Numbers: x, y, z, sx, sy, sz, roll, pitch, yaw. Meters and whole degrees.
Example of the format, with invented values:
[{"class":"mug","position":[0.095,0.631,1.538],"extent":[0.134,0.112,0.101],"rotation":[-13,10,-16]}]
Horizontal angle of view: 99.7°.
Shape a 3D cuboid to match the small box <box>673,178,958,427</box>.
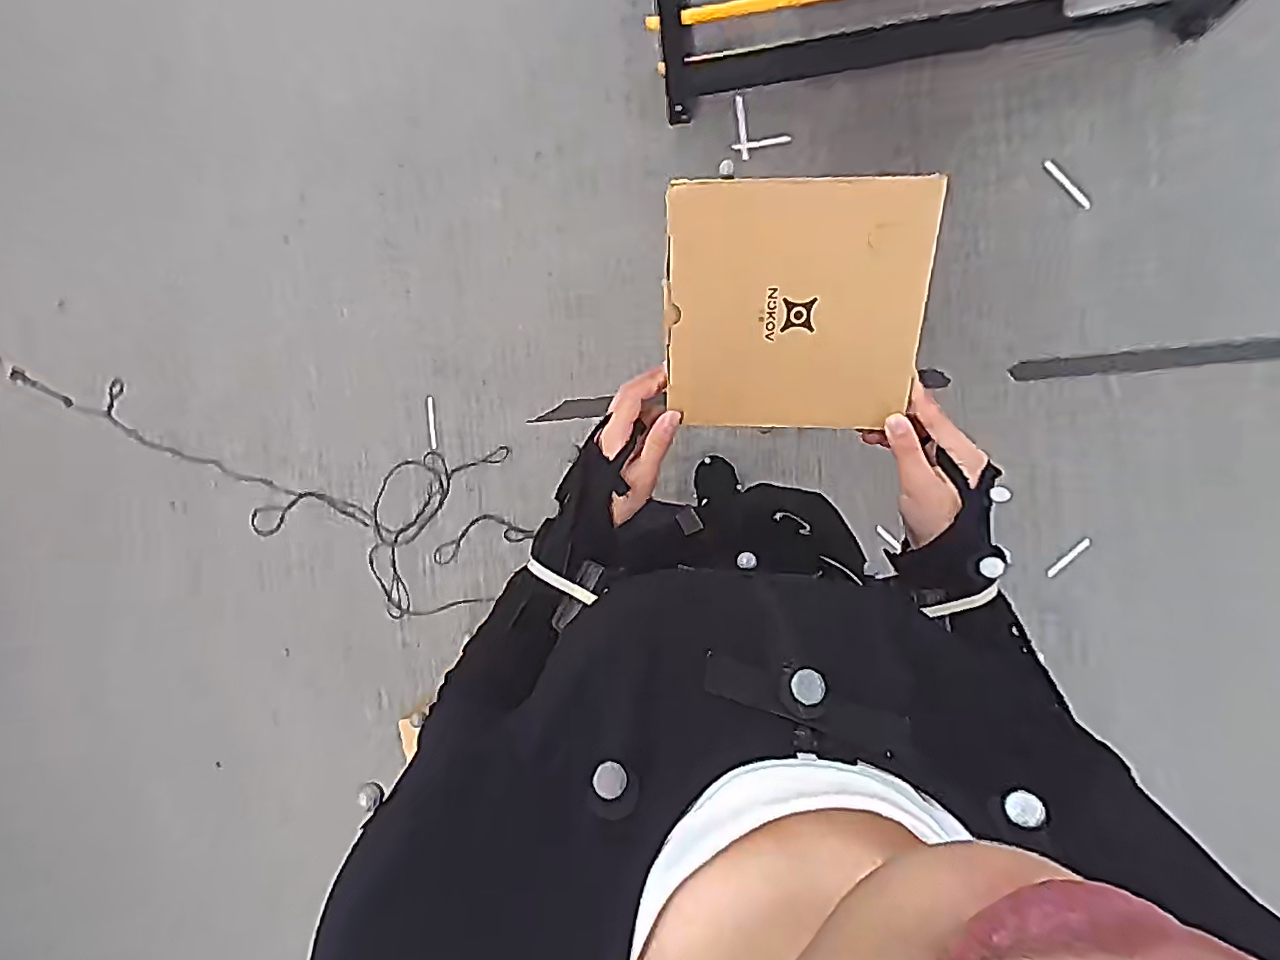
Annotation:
[{"class":"small box","position":[0.121,-0.150,0.445],"extent":[0.179,0.176,0.168],"rotation":[3,114,8]}]
